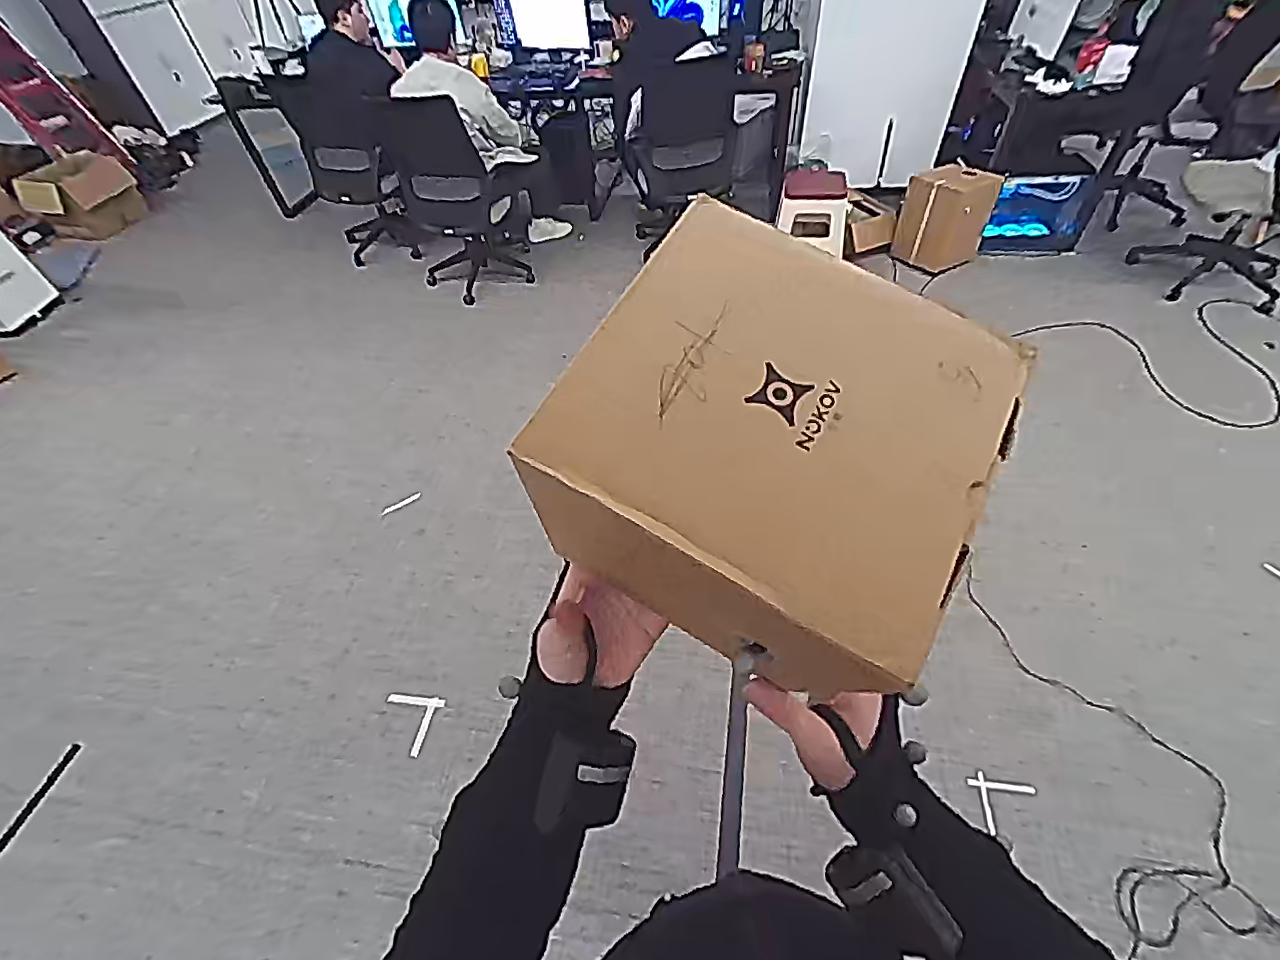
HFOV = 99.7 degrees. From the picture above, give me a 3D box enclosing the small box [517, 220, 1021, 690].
[{"bbox_3d":[0.060,0.000,0.312,0.179,0.176,0.168,29,70,10],"label":"small box"}]
